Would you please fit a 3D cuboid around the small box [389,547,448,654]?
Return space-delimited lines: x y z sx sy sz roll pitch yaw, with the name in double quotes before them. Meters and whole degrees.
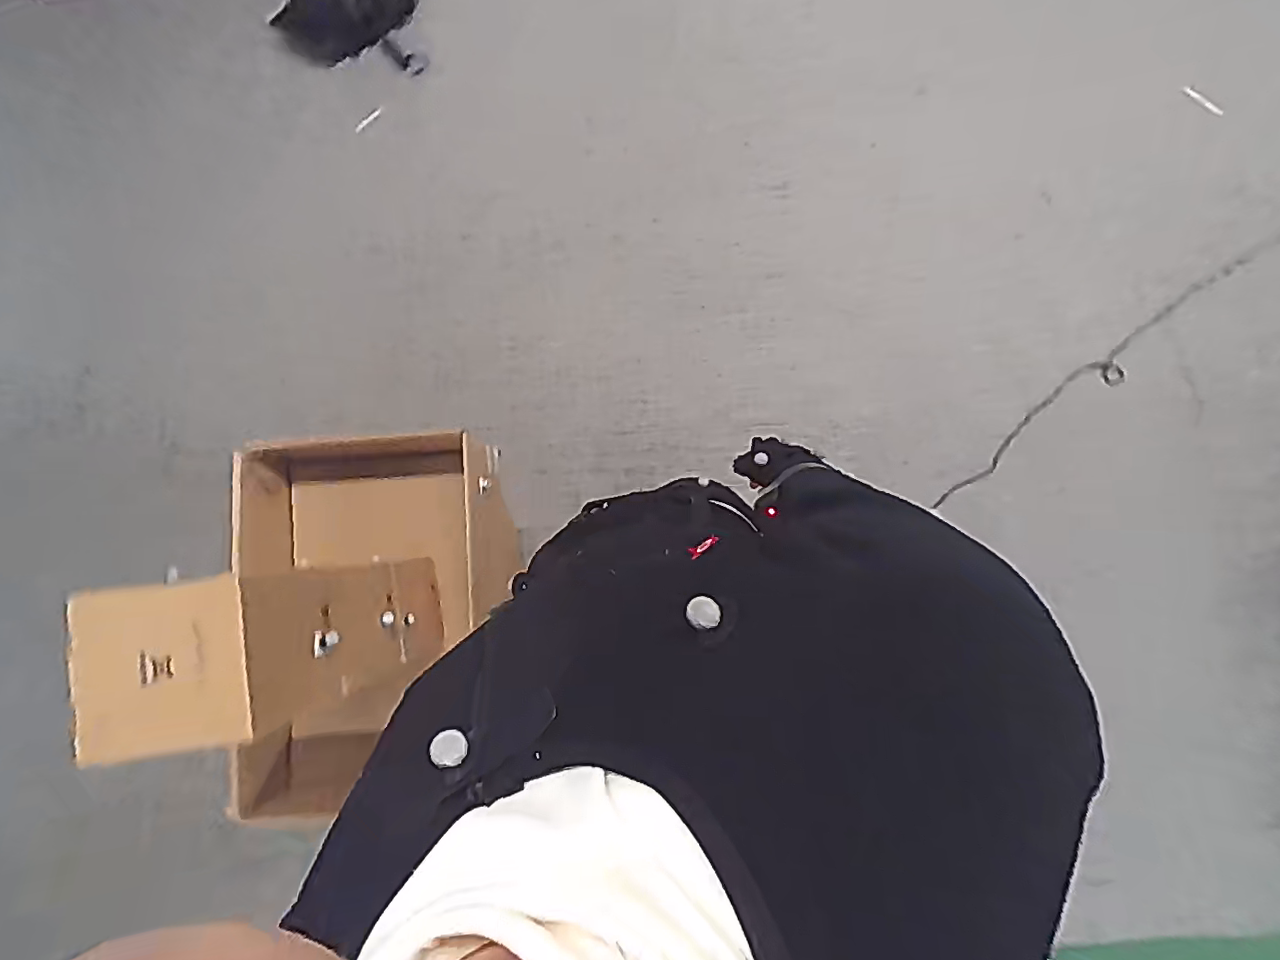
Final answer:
"small box" -0.460 0.213 0.941 0.179 0.176 0.168 -10 86 1

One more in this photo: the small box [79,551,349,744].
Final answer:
"small box" -0.468 0.176 0.618 0.179 0.176 0.168 -8 86 -1

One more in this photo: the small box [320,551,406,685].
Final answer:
"small box" -0.466 0.197 0.778 0.179 0.176 0.168 -9 85 0
